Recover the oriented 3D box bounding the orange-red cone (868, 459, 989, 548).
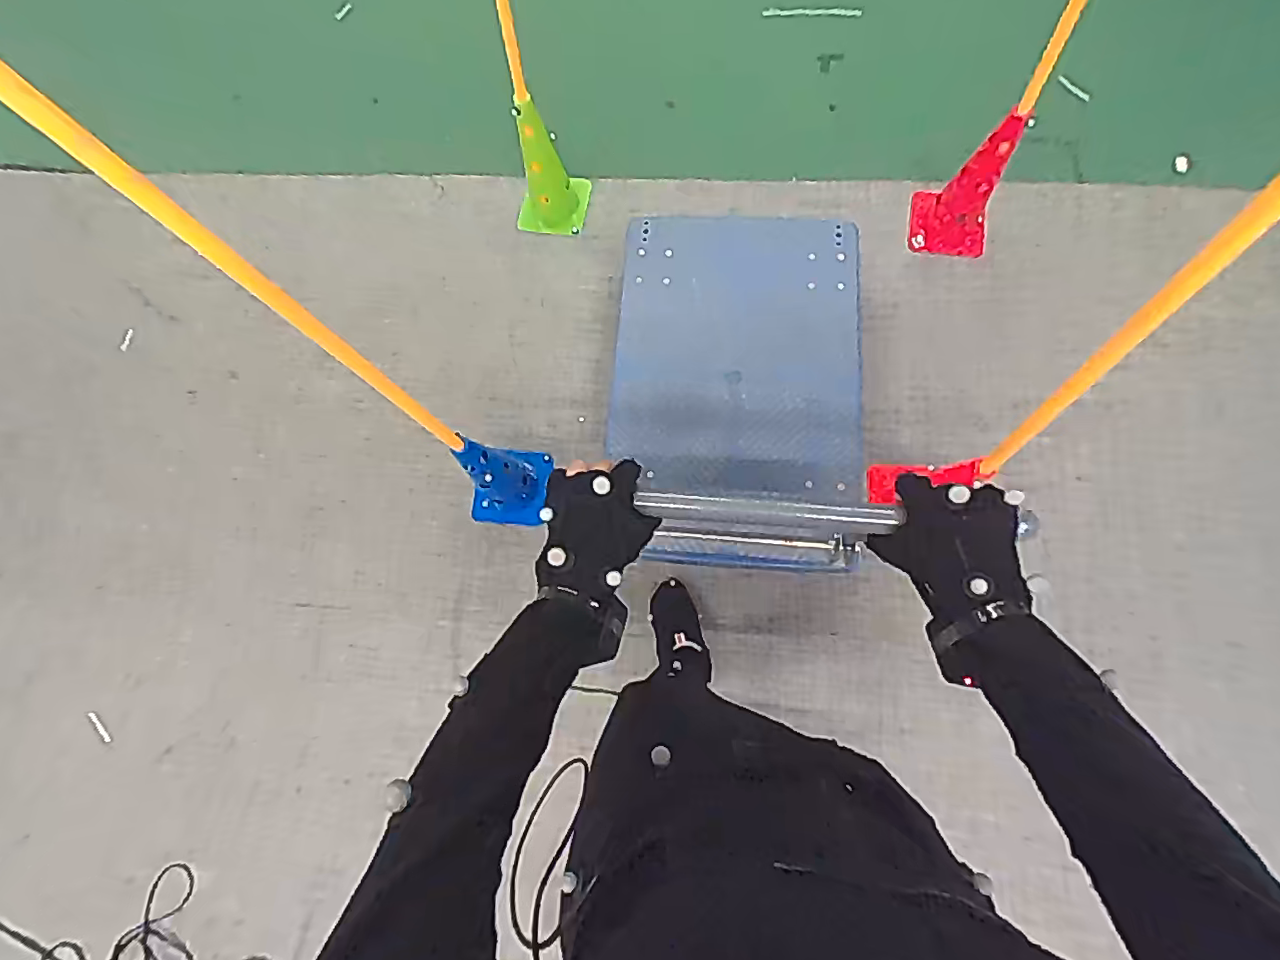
[{"bbox_3d":[0.652,0.025,1.182,0.199,0.360,0.198,3,75,7],"label":"orange-red cone"}]

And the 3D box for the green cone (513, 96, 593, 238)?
[{"bbox_3d":[-0.268,-0.873,1.482,0.202,0.368,0.200,8,76,8],"label":"green cone"}]
